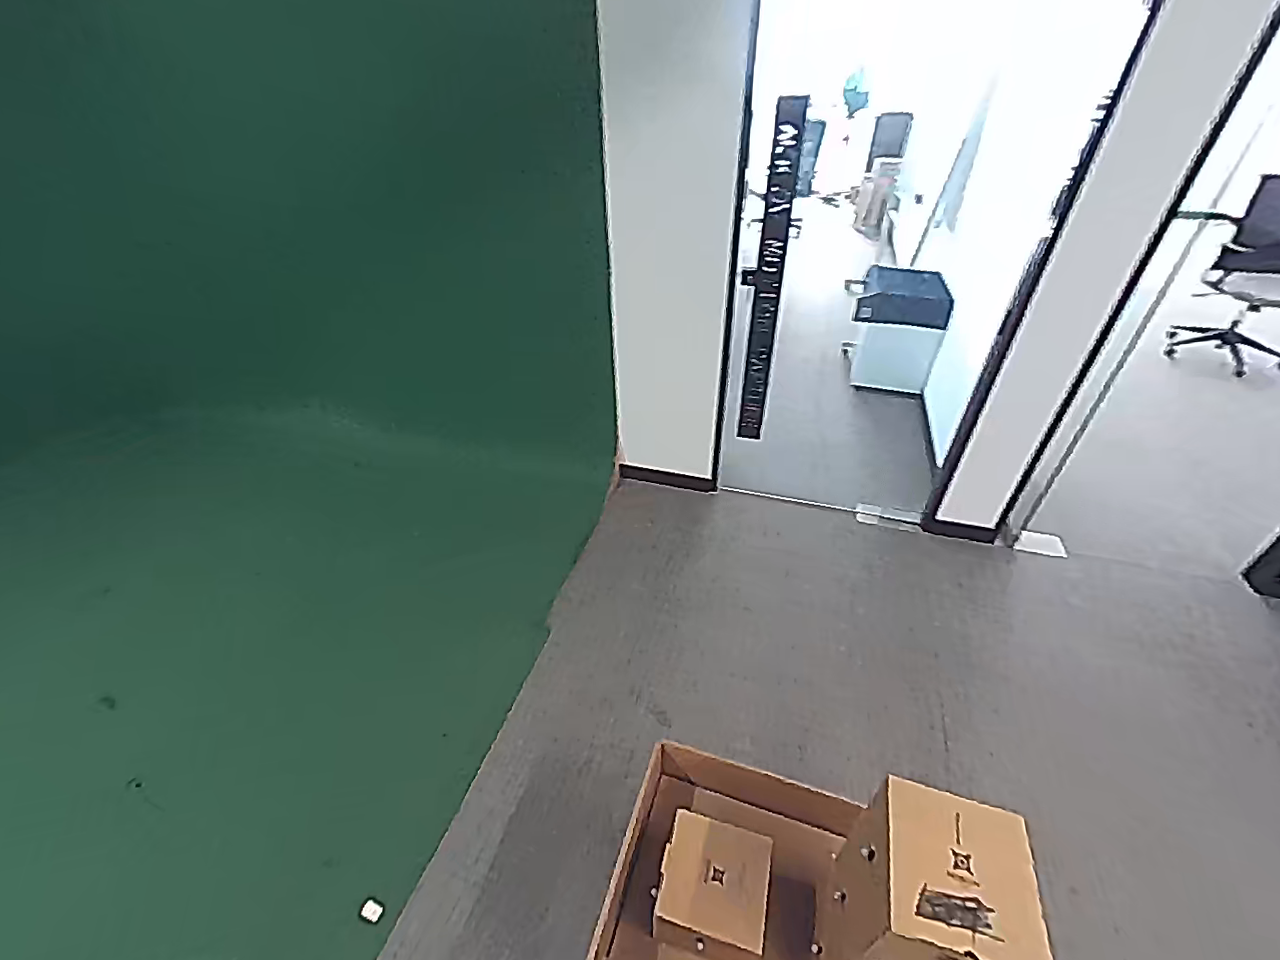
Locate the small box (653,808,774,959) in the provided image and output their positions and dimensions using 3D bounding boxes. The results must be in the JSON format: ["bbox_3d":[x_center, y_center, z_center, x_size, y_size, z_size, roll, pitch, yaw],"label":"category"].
[{"bbox_3d":[0.127,0.726,0.958,0.179,0.176,0.168,13,41,13],"label":"small box"}]

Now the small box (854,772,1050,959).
[{"bbox_3d":[0.379,0.520,0.688,0.168,0.176,0.179,12,39,15],"label":"small box"}]
